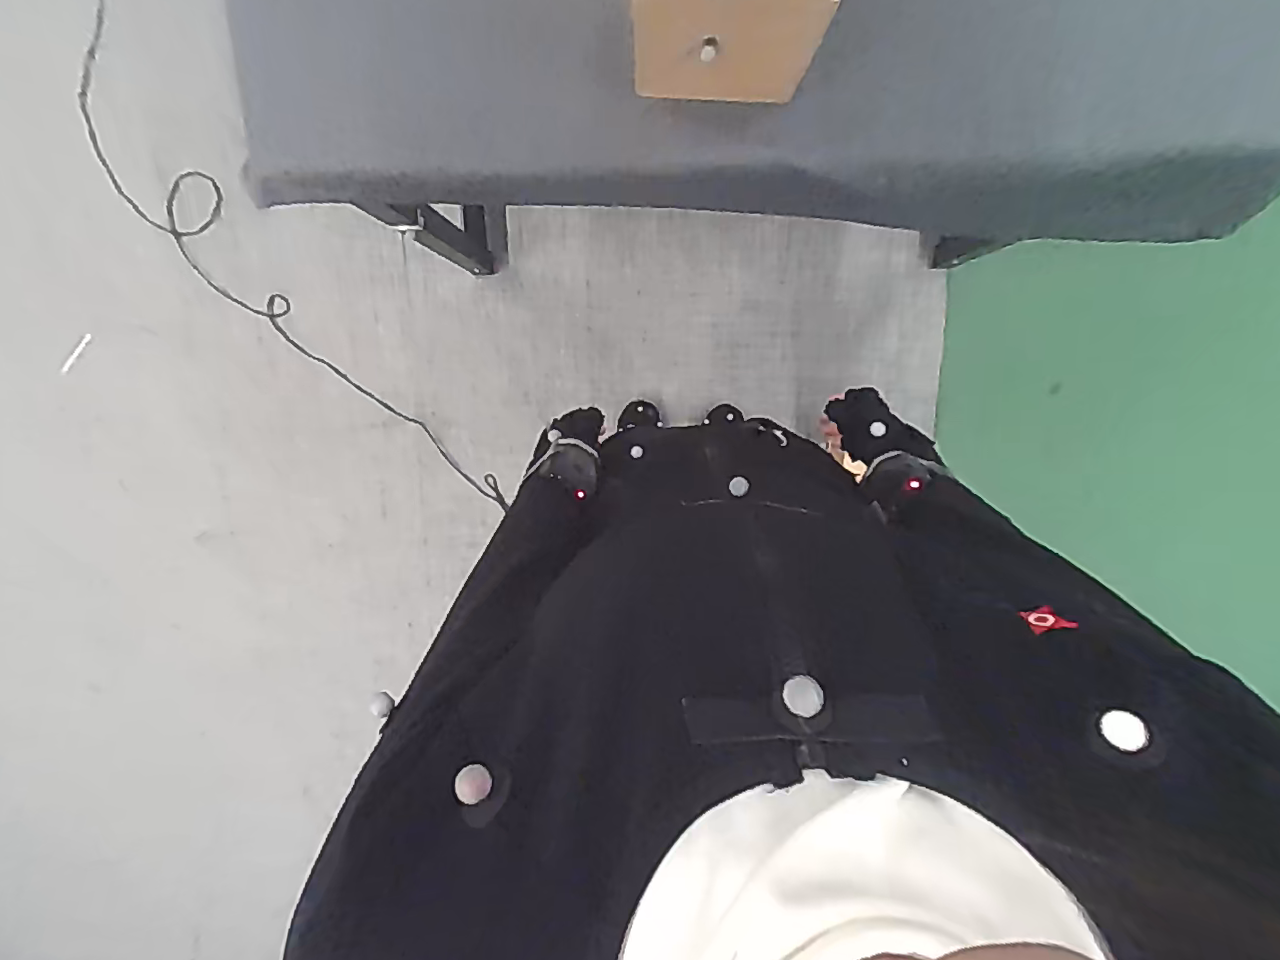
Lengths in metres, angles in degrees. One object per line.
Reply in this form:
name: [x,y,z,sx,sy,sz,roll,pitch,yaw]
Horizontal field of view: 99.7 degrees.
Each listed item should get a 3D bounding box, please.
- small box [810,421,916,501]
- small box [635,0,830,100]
small box: [0.542,-0.054,1.335,0.179,0.176,0.168,8,99,1]
small box: [0.086,-0.498,0.519,0.179,0.176,0.168,4,100,0]
